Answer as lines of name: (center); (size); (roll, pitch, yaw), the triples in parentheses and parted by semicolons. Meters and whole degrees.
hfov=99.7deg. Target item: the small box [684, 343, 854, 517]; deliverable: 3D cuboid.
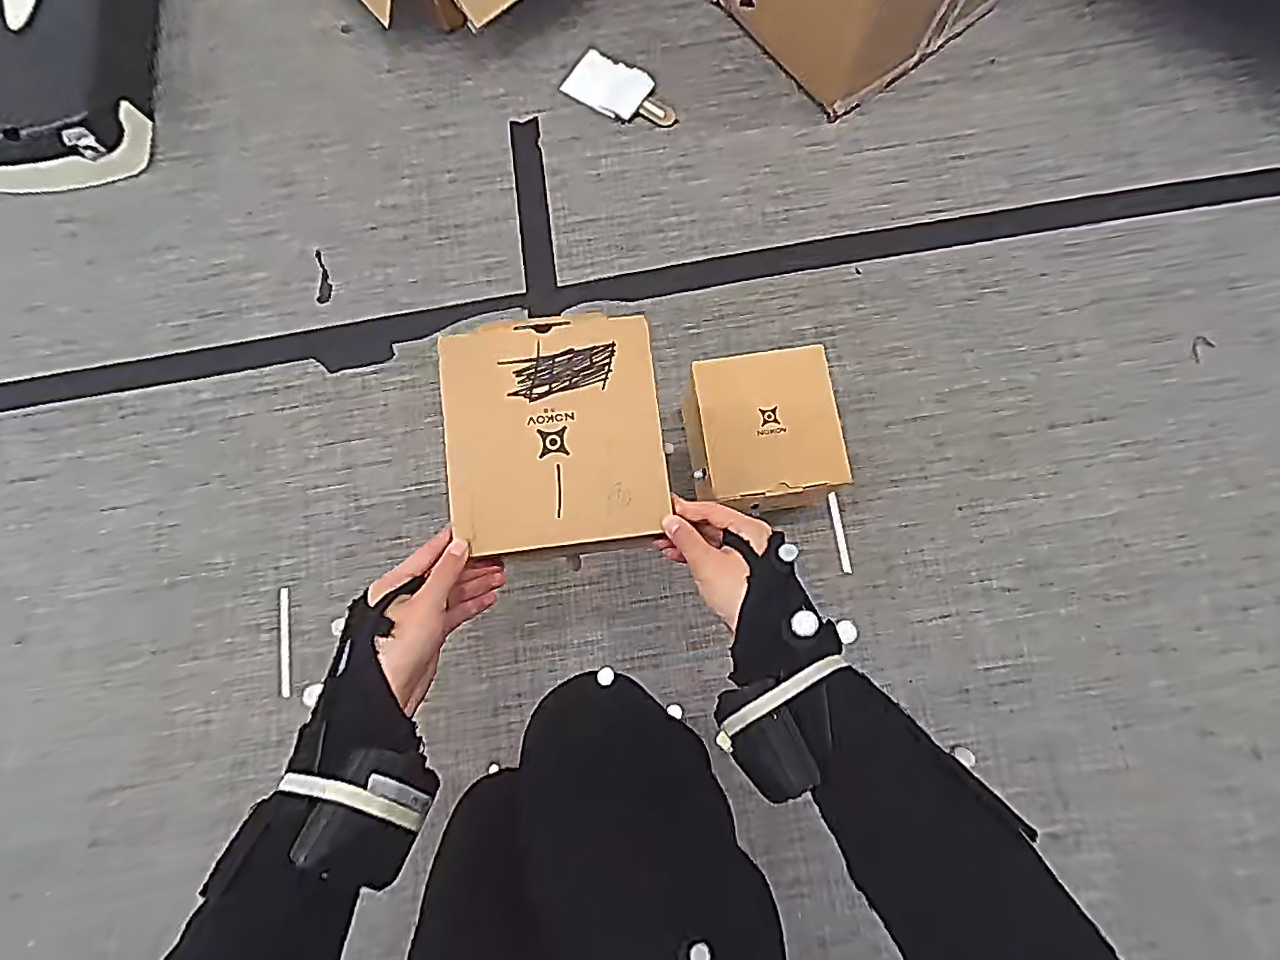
small box: (0.156, -0.057, 0.716); (0.168, 0.176, 0.179); (-9, 79, -1)

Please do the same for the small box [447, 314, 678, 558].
small box: (-0.064, -0.026, 0.491); (0.168, 0.176, 0.179); (-7, 81, -3)
